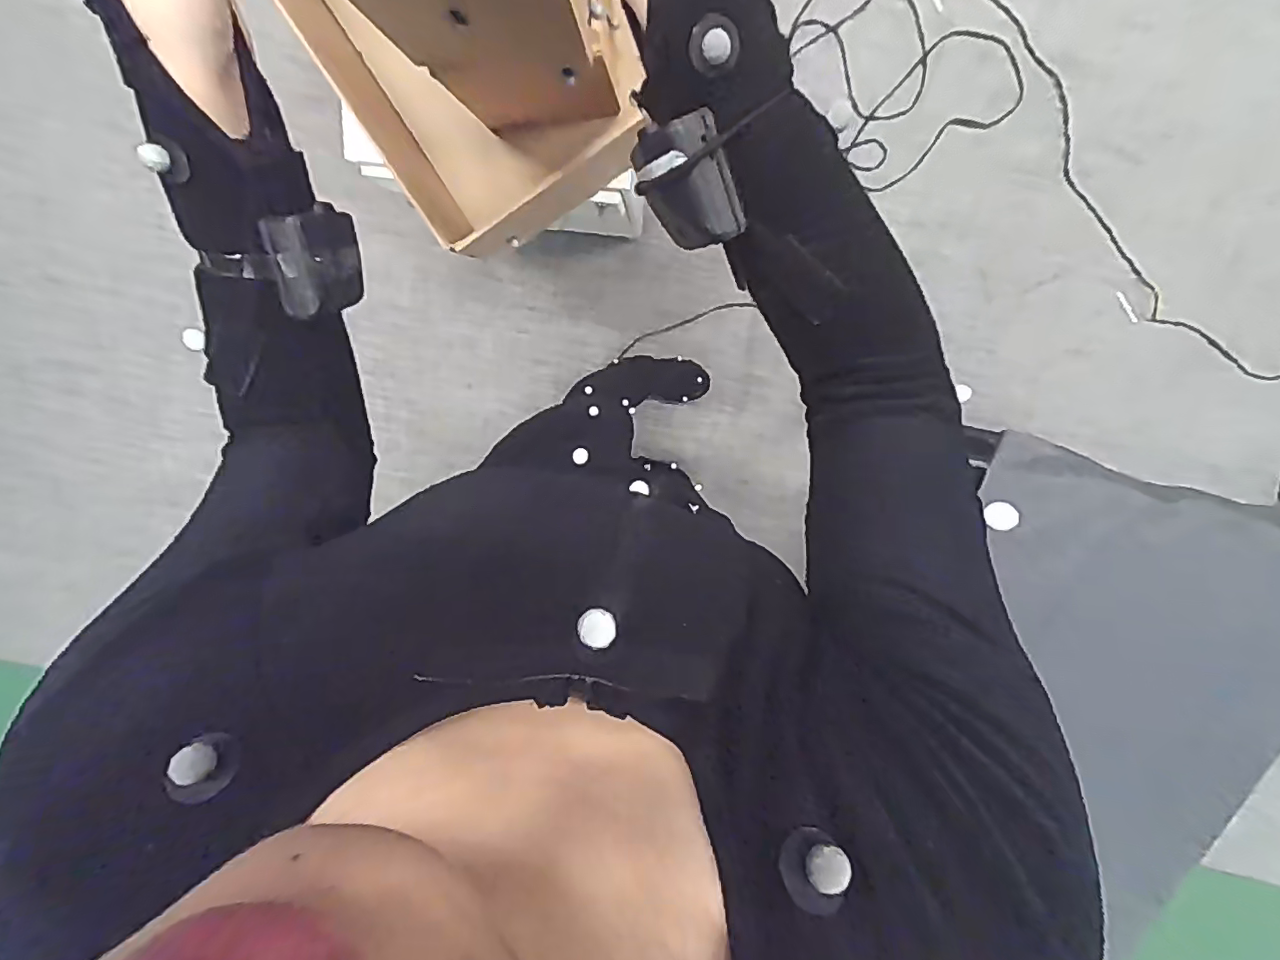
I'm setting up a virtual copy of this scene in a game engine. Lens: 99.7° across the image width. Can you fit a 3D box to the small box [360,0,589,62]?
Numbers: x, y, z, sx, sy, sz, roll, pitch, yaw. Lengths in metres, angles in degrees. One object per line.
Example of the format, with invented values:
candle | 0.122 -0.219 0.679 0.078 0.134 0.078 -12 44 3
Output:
small box | -0.133 -0.460 0.424 0.179 0.176 0.168 3 107 4
